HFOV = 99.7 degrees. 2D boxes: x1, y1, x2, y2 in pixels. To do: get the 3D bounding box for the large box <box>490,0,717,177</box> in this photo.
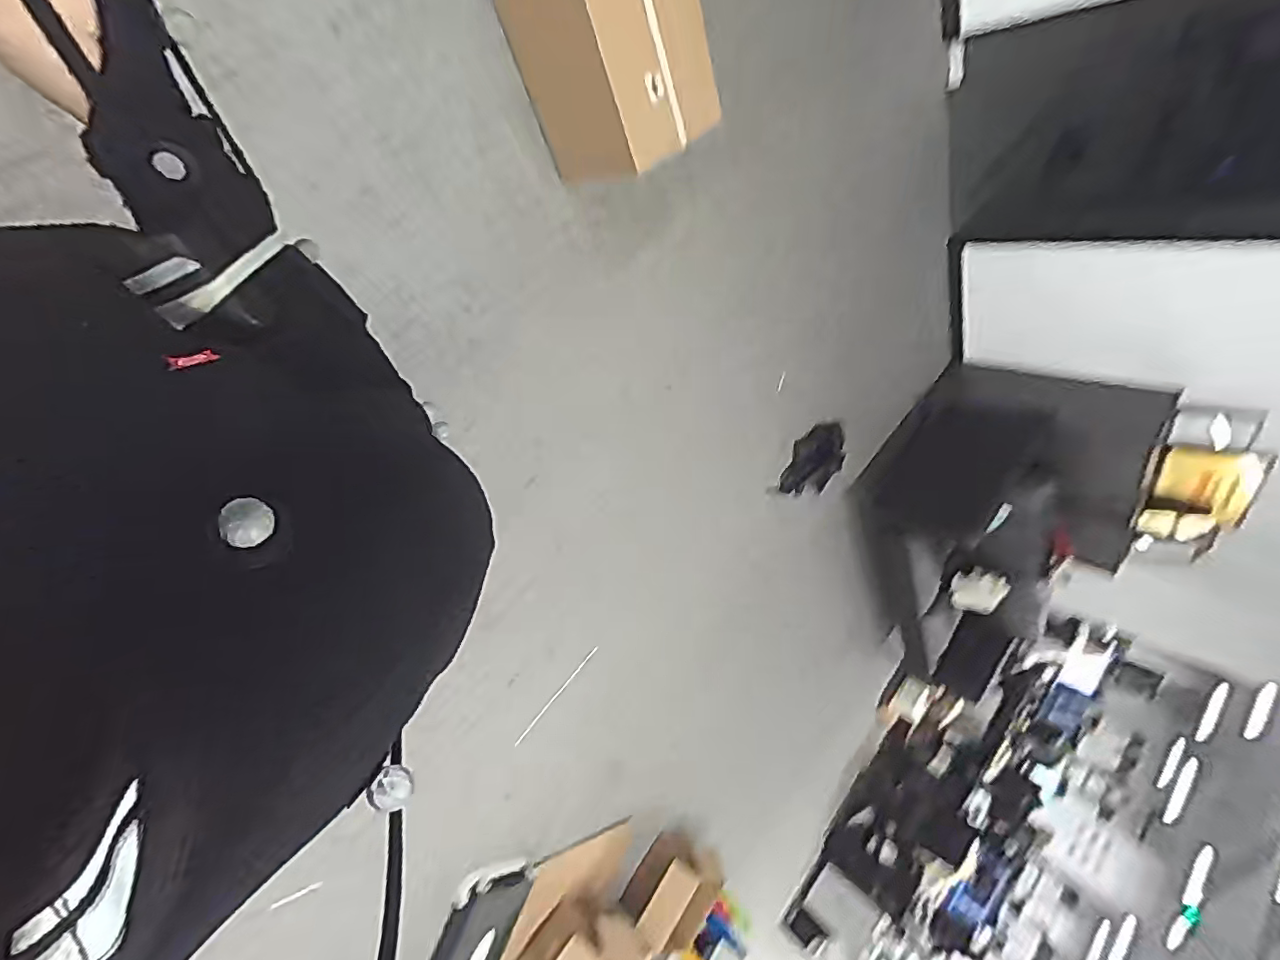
[{"bbox_3d":[-0.074,-0.985,1.256,0.320,0.320,0.408,-43,133,-21],"label":"large box"}]
